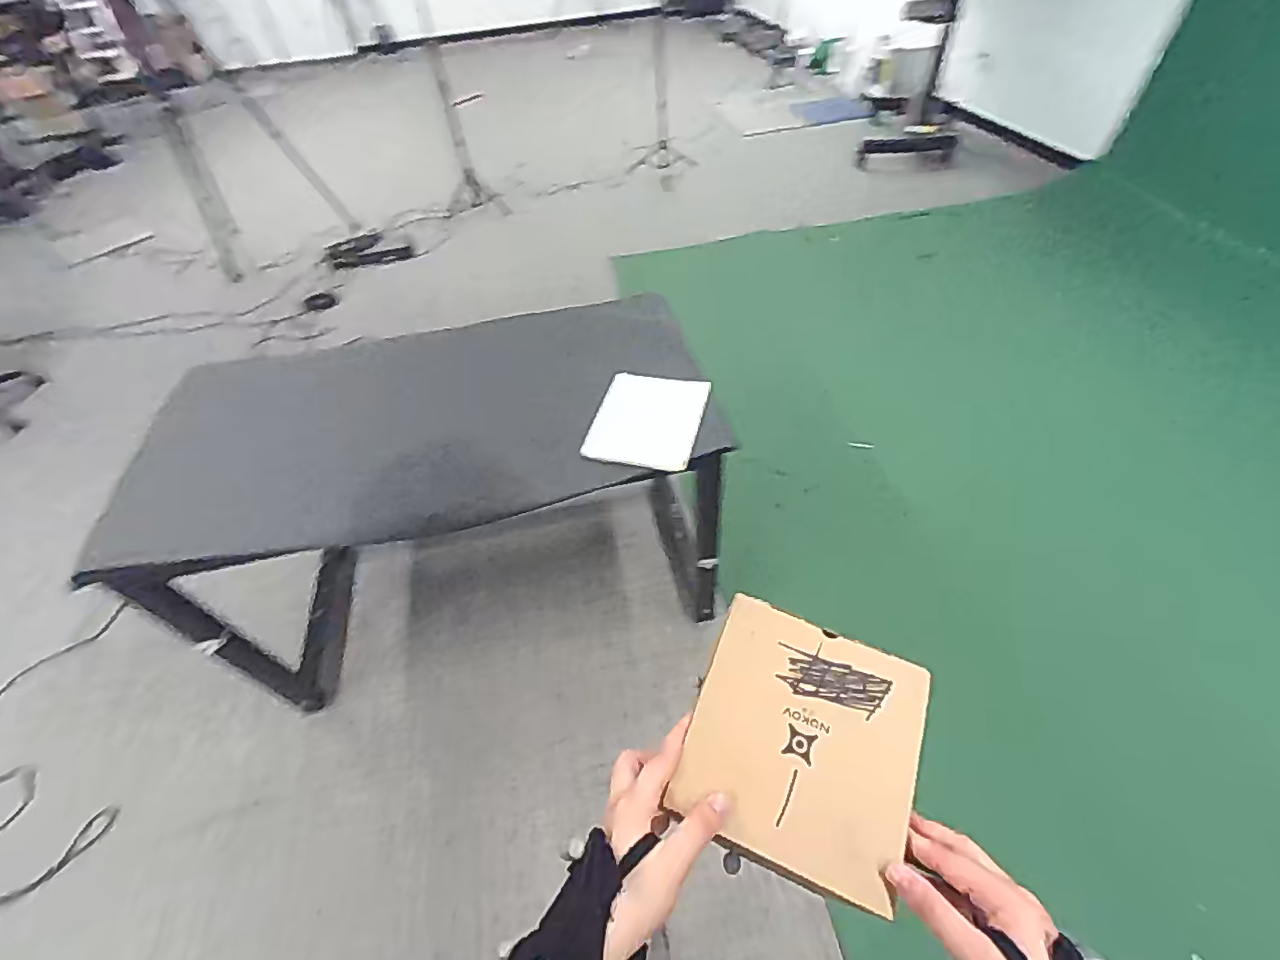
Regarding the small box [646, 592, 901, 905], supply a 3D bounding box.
[{"bbox_3d":[0.107,0.233,0.486,0.168,0.176,0.179,19,60,11],"label":"small box"}]
